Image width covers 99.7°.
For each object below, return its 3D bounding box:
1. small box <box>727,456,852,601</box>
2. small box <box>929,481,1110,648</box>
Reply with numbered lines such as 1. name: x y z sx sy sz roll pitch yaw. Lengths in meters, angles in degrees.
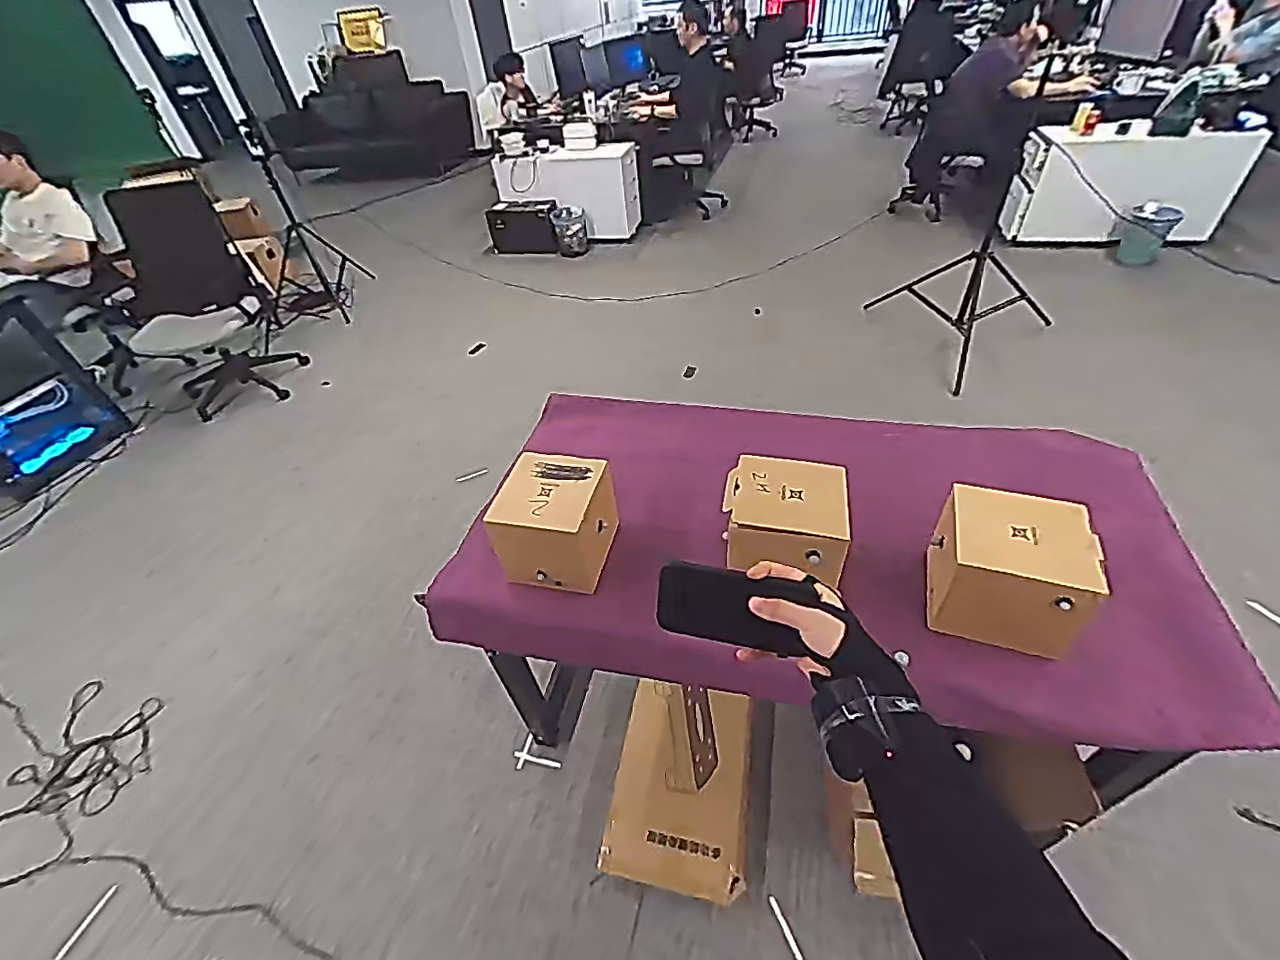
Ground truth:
1. small box: 0.243 0.082 0.899 0.179 0.176 0.168 5 42 13
2. small box: 0.546 0.127 0.811 0.179 0.176 0.168 11 46 18
